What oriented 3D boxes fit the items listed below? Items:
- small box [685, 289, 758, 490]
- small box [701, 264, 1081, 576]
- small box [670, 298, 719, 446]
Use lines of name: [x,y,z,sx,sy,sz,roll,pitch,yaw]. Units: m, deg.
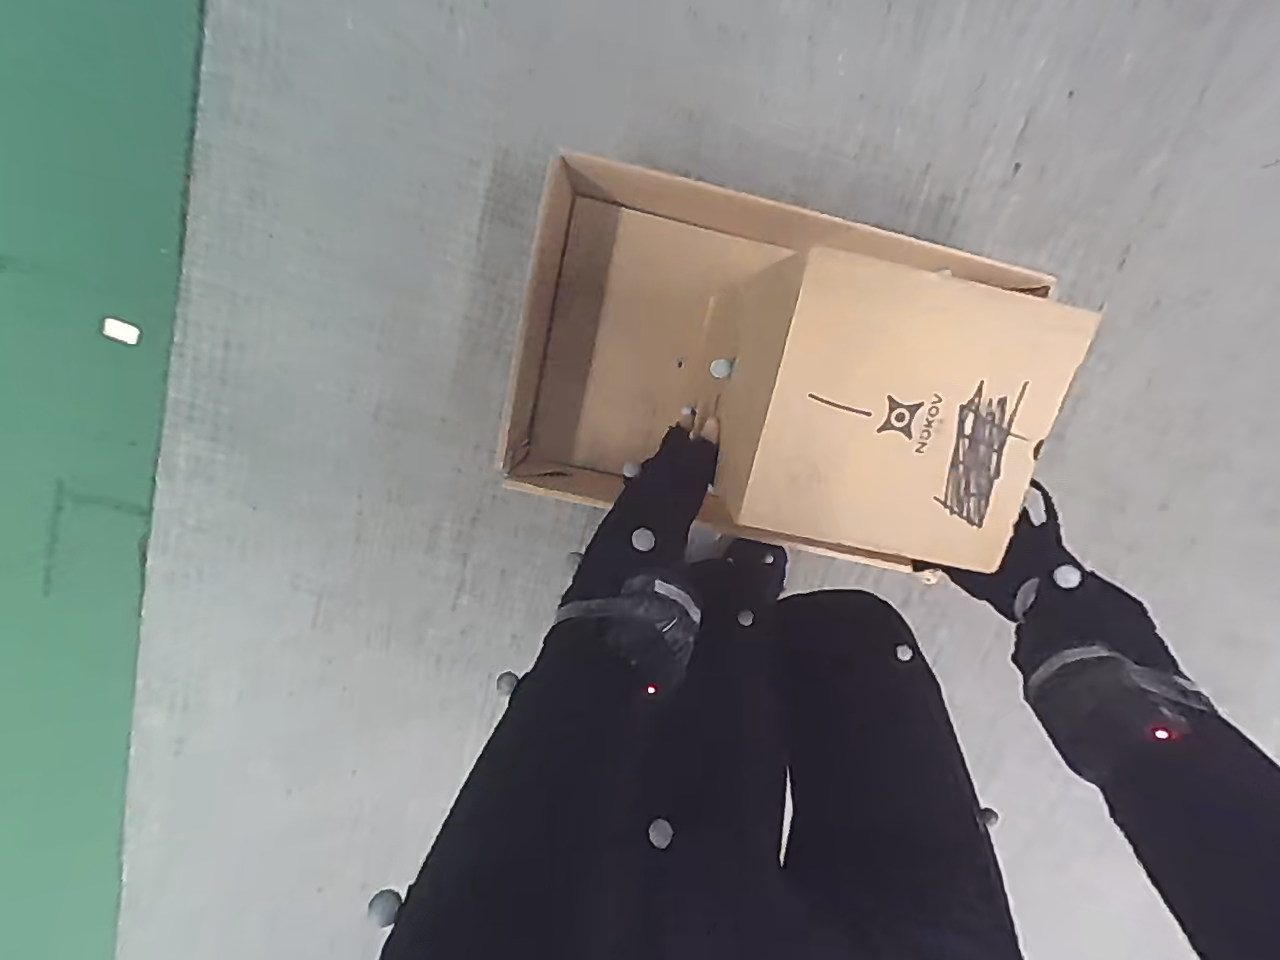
small box: [0.144,-0.083,0.549,0.168,0.176,0.179,10,104,-3]
small box: [0.155,-0.049,0.405,0.179,0.176,0.168,11,104,-4]
small box: [0.138,-0.129,0.721,0.168,0.176,0.179,13,103,-4]
